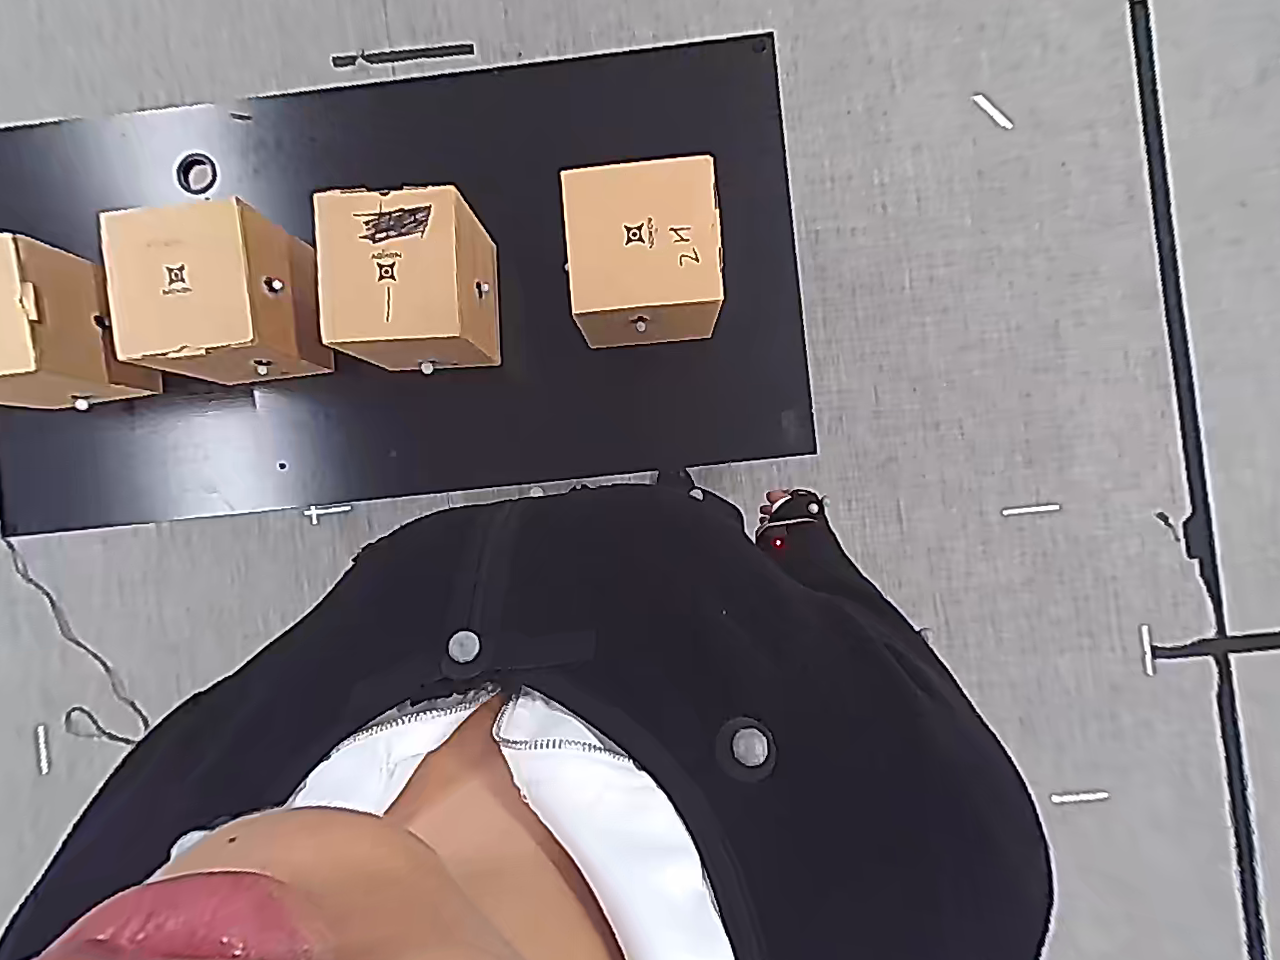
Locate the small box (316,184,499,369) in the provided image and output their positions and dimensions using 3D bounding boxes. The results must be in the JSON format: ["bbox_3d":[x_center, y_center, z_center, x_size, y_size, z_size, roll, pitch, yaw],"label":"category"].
[{"bbox_3d":[-0.287,-0.250,0.699,0.168,0.176,0.179,-2,91,1],"label":"small box"}]

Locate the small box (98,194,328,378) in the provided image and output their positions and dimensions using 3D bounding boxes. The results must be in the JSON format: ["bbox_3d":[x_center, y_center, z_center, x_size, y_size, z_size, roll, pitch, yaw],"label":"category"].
[{"bbox_3d":[-0.537,-0.236,0.705,0.168,0.176,0.179,-7,89,0],"label":"small box"}]

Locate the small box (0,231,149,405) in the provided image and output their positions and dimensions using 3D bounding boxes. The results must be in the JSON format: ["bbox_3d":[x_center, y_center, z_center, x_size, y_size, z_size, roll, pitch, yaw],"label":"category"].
[{"bbox_3d":[-0.797,-0.199,0.707,0.179,0.176,0.168,-8,90,0],"label":"small box"}]

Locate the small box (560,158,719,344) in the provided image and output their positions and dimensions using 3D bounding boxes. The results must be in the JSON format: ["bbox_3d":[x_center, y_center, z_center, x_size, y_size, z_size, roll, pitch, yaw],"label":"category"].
[{"bbox_3d":[0.002,-0.278,0.694,0.179,0.176,0.168,-4,90,1],"label":"small box"}]
